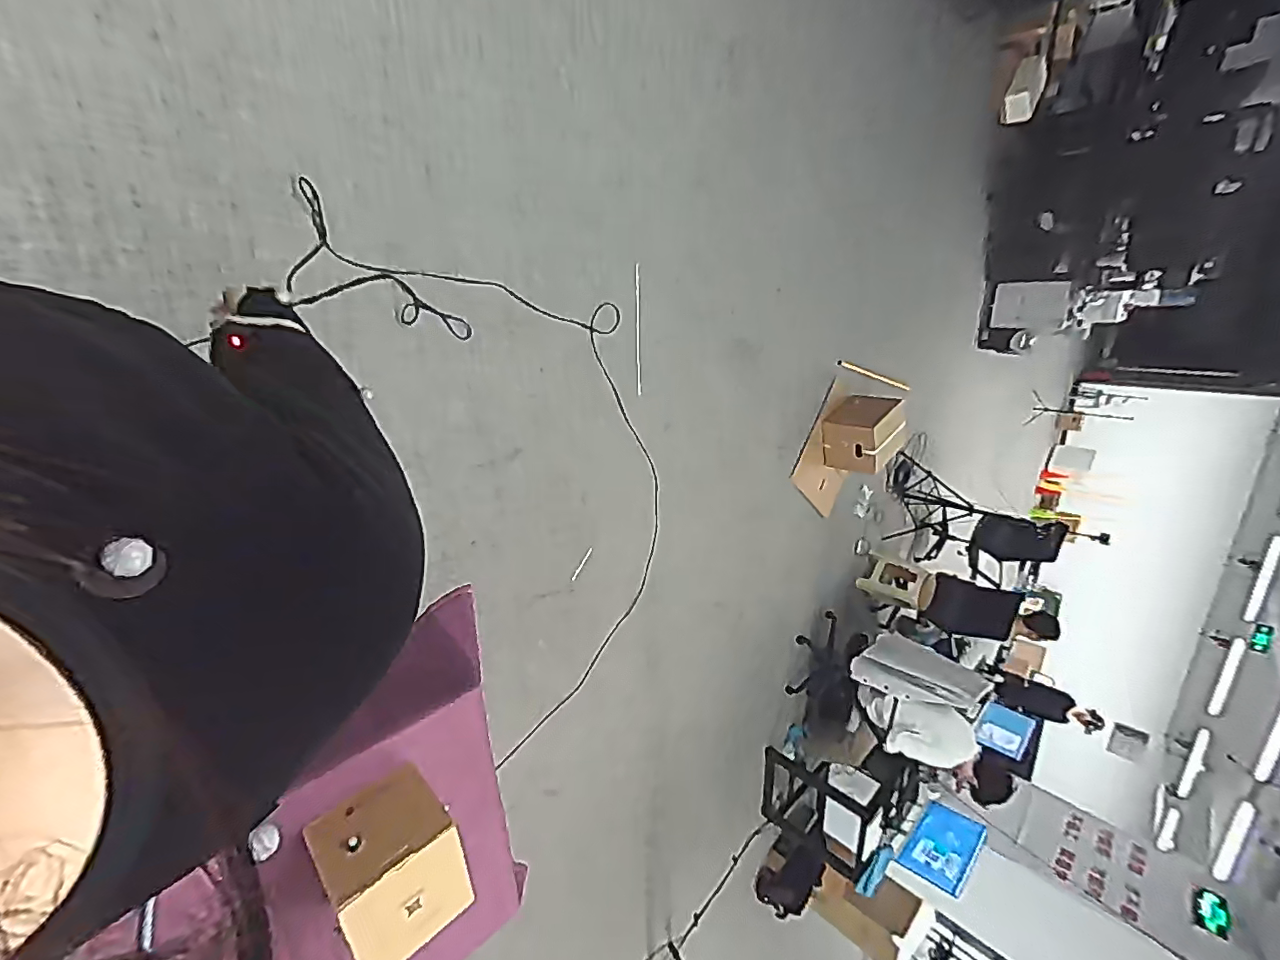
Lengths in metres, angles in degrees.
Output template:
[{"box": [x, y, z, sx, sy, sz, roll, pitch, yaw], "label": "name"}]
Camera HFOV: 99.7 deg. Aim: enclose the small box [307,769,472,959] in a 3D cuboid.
[{"box": [-0.386, 0.586, 0.835, 0.168, 0.176, 0.179, -22, 118, -39], "label": "small box"}]
